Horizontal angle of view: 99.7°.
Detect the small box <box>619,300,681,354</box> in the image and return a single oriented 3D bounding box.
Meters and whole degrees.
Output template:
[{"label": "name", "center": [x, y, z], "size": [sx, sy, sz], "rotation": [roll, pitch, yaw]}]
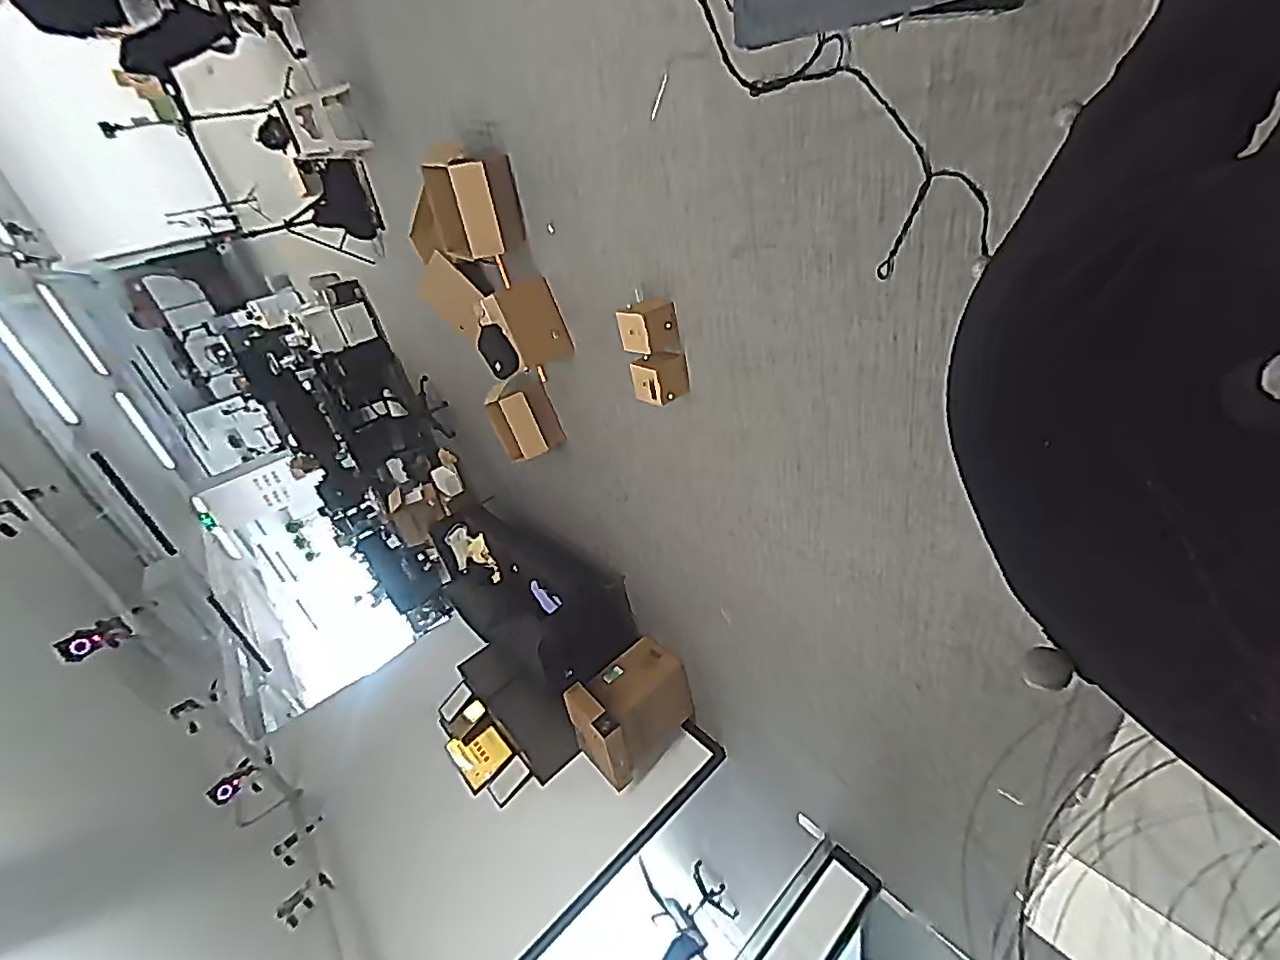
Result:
[{"label": "small box", "center": [0.043, -0.632, 2.218], "size": [0.179, 0.176, 0.168], "rotation": [23, 136, 46]}]
